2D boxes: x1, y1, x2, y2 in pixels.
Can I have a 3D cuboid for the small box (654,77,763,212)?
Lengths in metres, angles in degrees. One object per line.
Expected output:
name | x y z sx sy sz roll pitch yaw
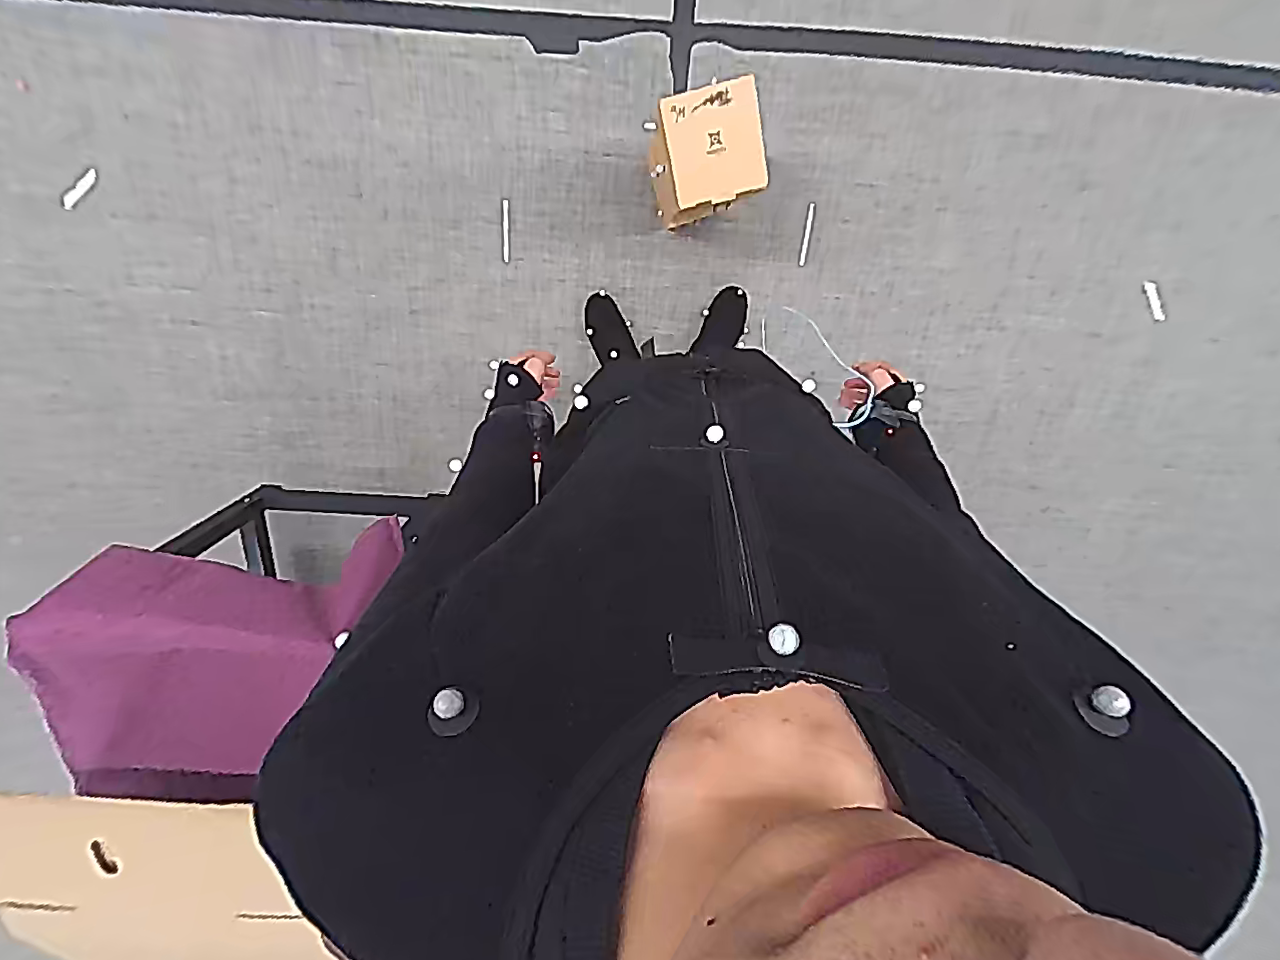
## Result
small box | 0.125 -0.616 1.018 0.168 0.176 0.179 -12 113 3
